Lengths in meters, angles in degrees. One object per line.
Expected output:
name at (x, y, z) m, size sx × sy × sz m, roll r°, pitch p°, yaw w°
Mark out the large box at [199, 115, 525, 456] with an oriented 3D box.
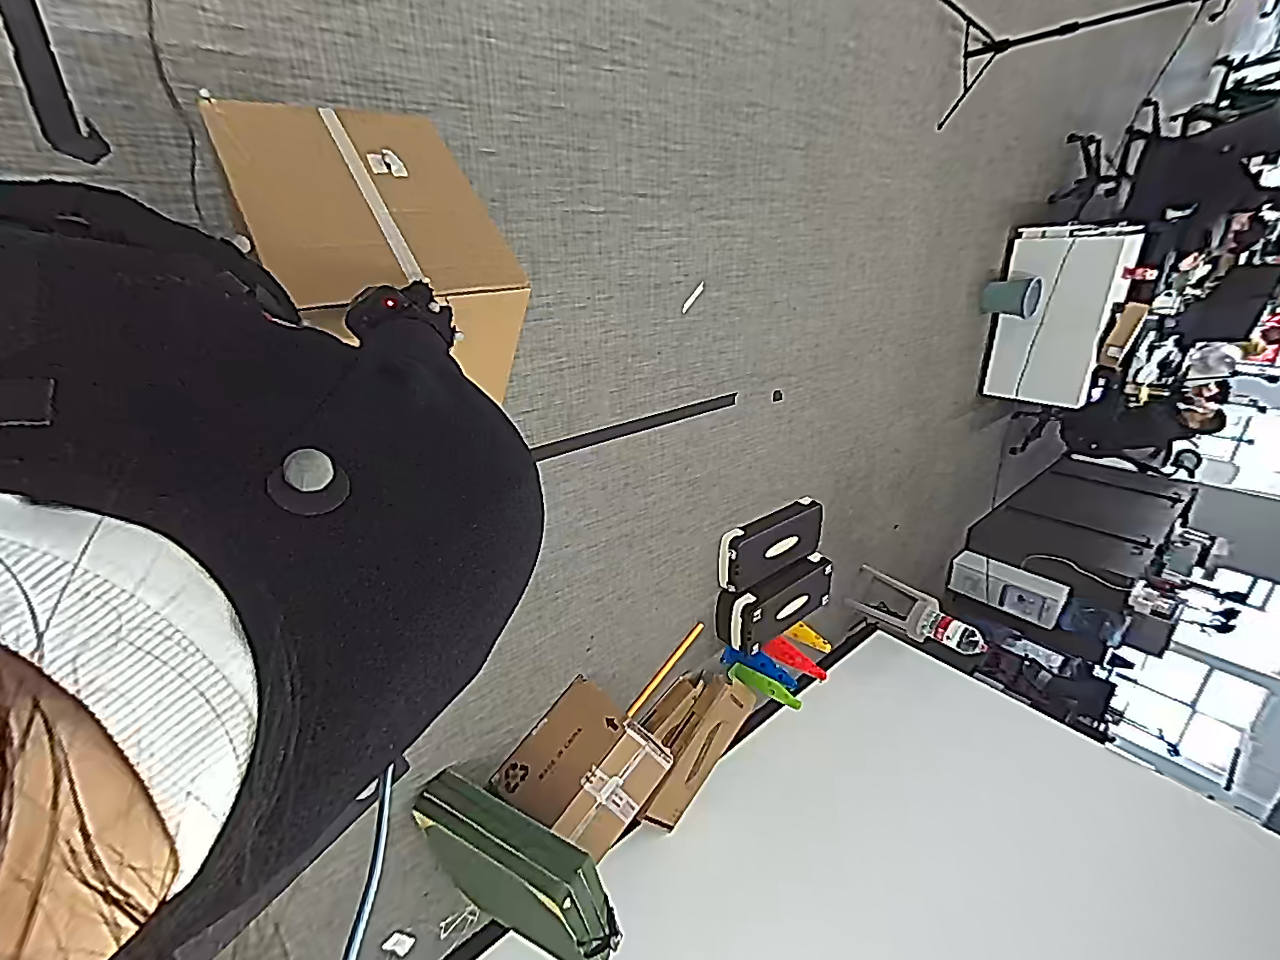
large box at (-0.438, -0.311, 0.884) m, size 0.320 × 0.408 × 0.320 m, roll -20°, pitch 158°, yaw -34°
